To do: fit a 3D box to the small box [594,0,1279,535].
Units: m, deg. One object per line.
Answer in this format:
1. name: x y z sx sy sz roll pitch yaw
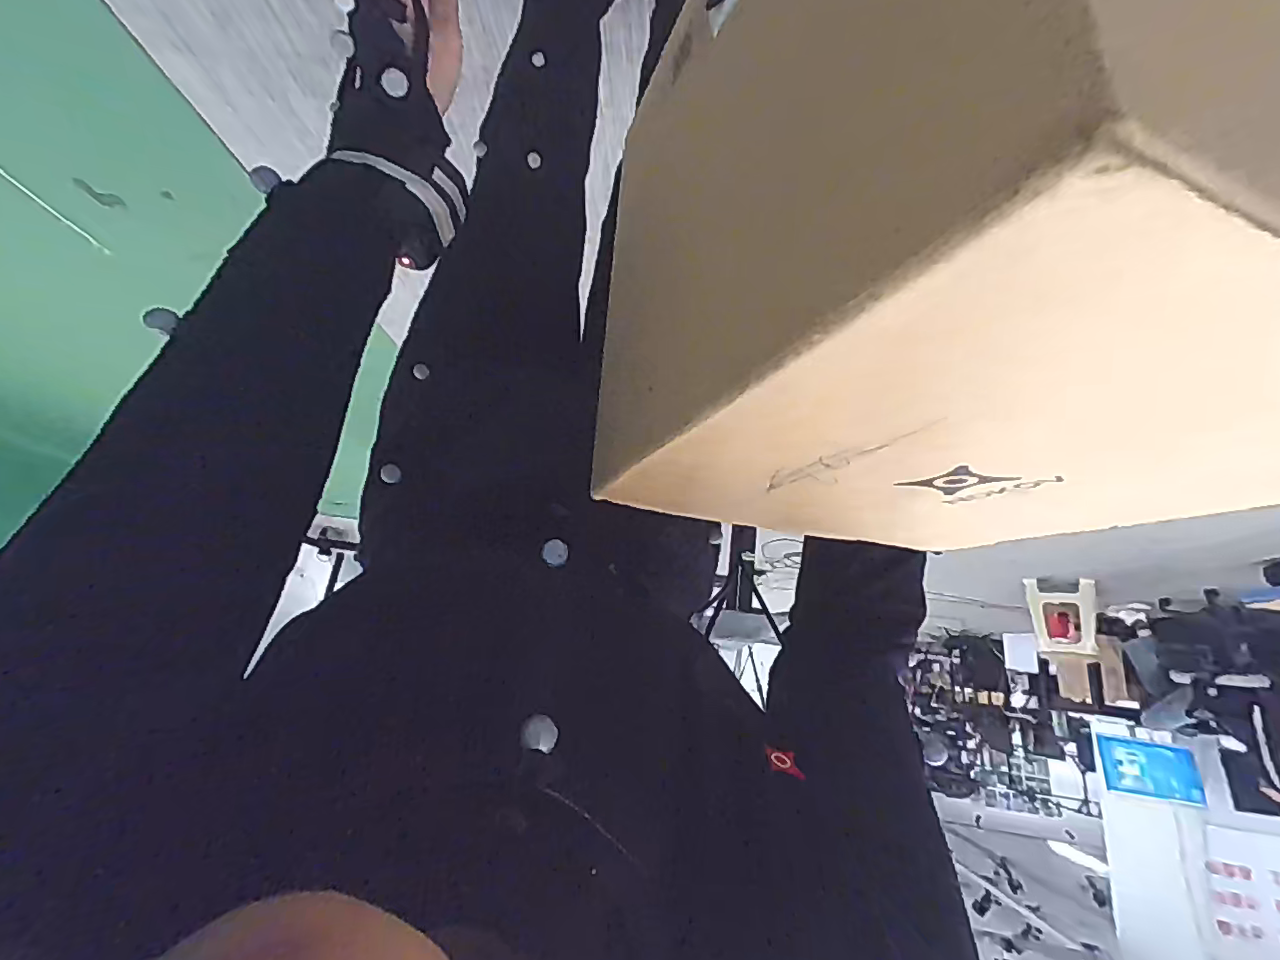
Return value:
1. small box: 0.097 -0.085 0.181 0.179 0.176 0.168 10 161 -19
